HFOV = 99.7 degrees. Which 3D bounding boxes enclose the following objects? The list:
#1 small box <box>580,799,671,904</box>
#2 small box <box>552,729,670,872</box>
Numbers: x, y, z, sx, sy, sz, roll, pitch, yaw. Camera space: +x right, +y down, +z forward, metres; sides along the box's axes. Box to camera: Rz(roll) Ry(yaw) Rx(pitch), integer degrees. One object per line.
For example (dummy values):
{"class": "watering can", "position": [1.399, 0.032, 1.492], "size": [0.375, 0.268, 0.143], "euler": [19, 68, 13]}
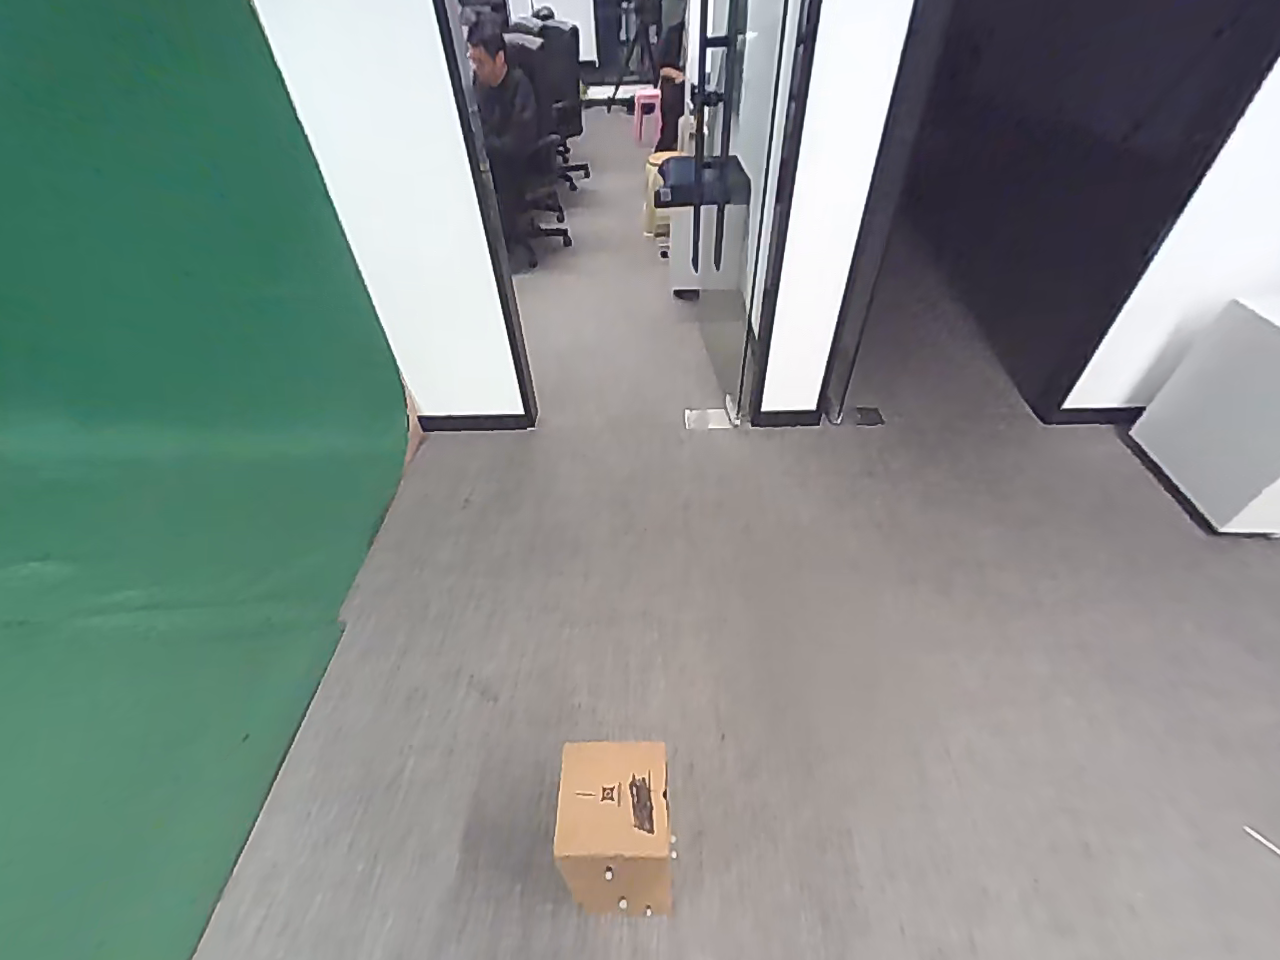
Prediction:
{"class": "small box", "position": [-0.023, 0.785, 1.150], "size": [0.179, 0.176, 0.168], "euler": [-2, 43, 3]}
{"class": "small box", "position": [-0.040, 0.547, 0.920], "size": [0.179, 0.176, 0.168], "euler": [1, 42, 4]}
